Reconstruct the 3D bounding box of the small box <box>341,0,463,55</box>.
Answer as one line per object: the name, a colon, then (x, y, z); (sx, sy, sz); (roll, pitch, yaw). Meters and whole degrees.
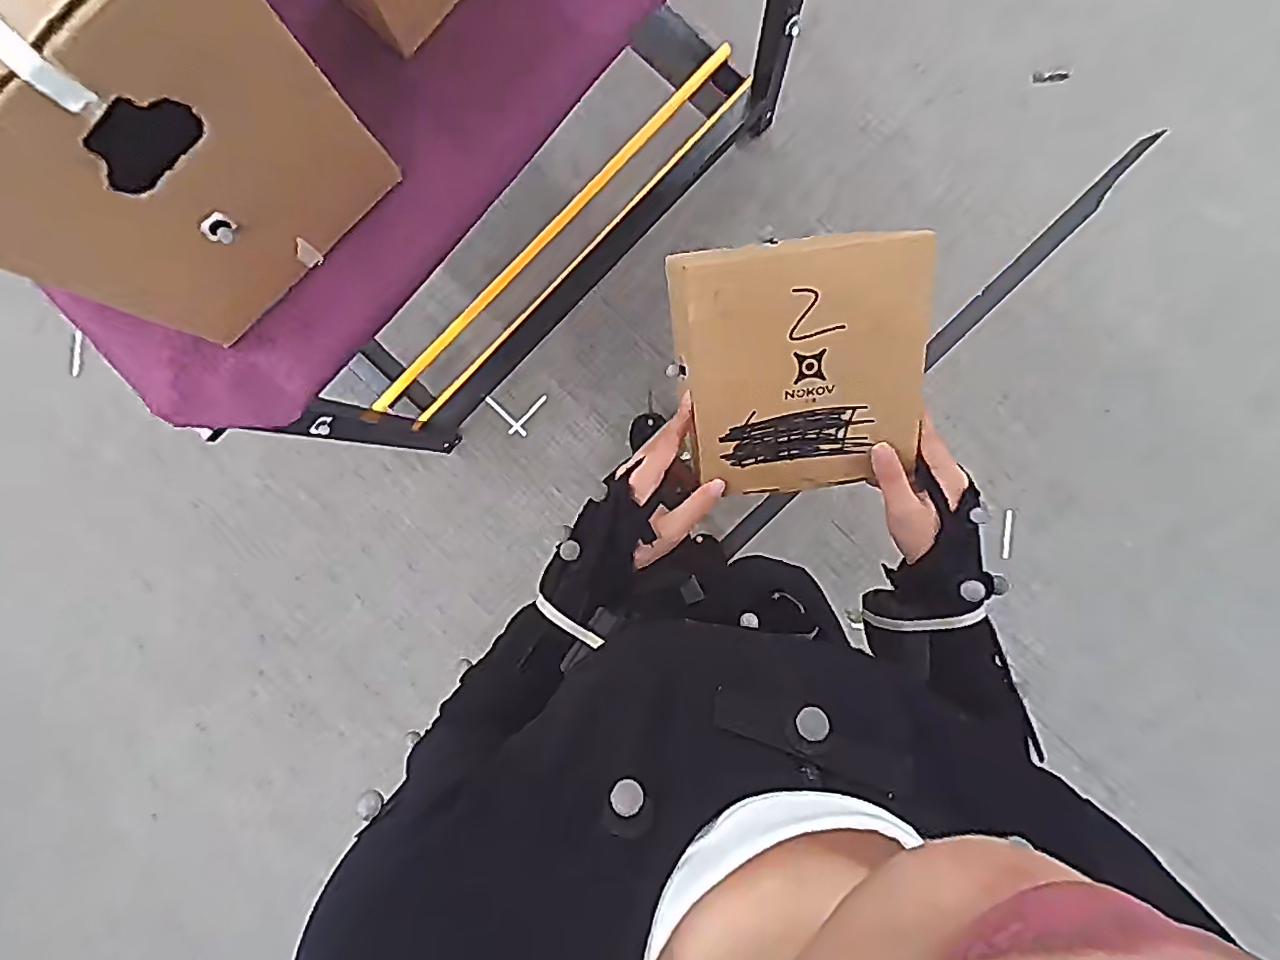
small box: (-0.290, -0.637, 0.590); (0.168, 0.176, 0.179); (44, 91, 4)
